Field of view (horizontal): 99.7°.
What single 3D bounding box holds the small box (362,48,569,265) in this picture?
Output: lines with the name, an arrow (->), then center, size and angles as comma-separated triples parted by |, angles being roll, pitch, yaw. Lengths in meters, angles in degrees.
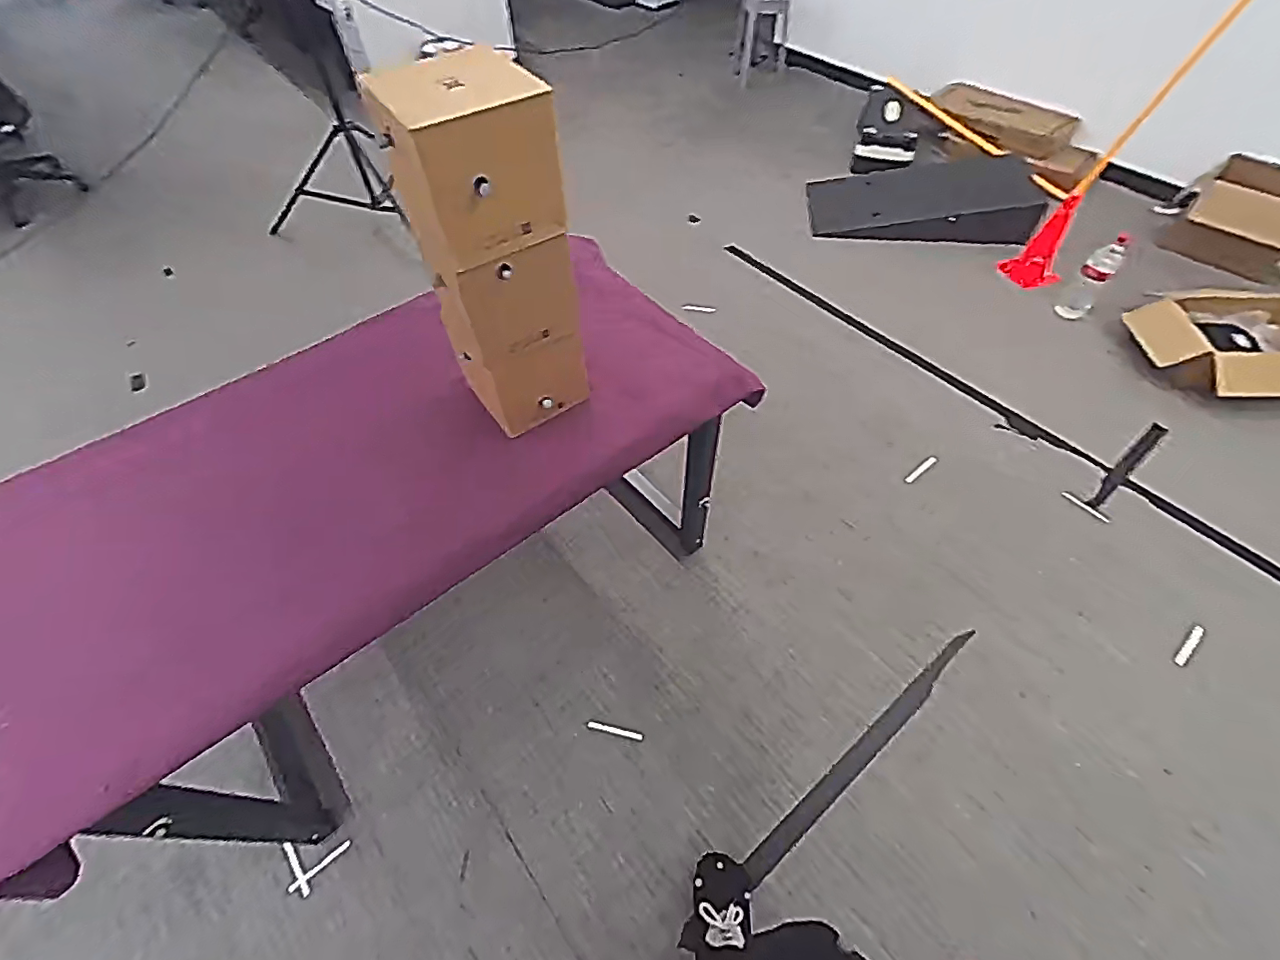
small box -> -0.204, -0.392, 0.672 | 0.168, 0.176, 0.179 | -30, 59, -18

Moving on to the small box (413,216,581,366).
small box -> -0.205, -0.303, 0.808 | 0.168, 0.176, 0.179 | -30, 59, -17

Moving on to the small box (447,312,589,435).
small box -> -0.205, -0.212, 0.945 | 0.168, 0.176, 0.179 | -32, 60, -19
